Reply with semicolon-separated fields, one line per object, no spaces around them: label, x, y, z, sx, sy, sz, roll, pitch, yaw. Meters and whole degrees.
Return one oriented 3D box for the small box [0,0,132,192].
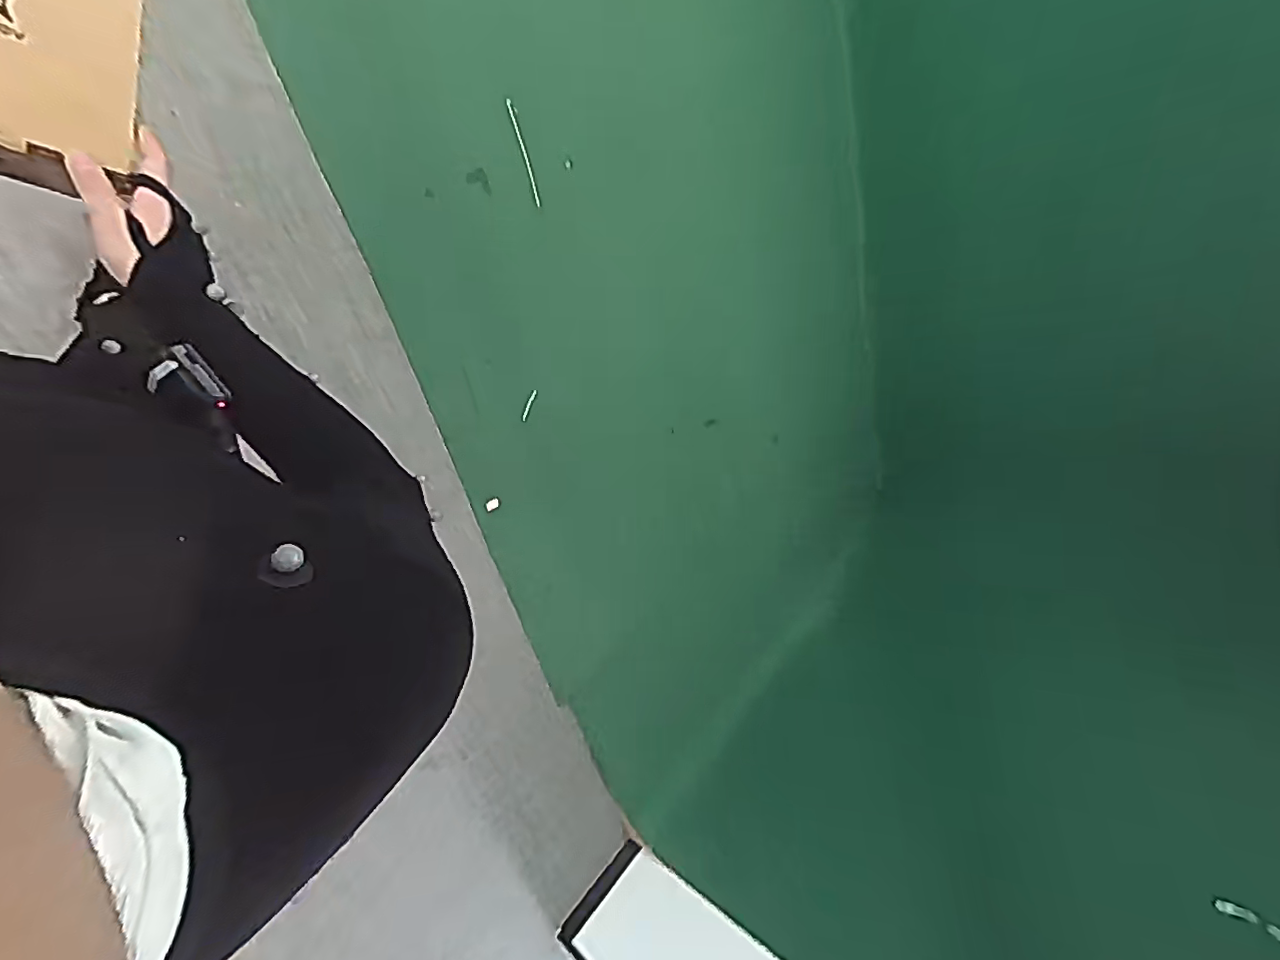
small box;-0.542;-0.364;0.444;0.168;0.176;0.179;1;100;-50

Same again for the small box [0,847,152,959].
small box;-1.090;0.862;1.035;0.179;0.176;0.168;-33;118;-36
